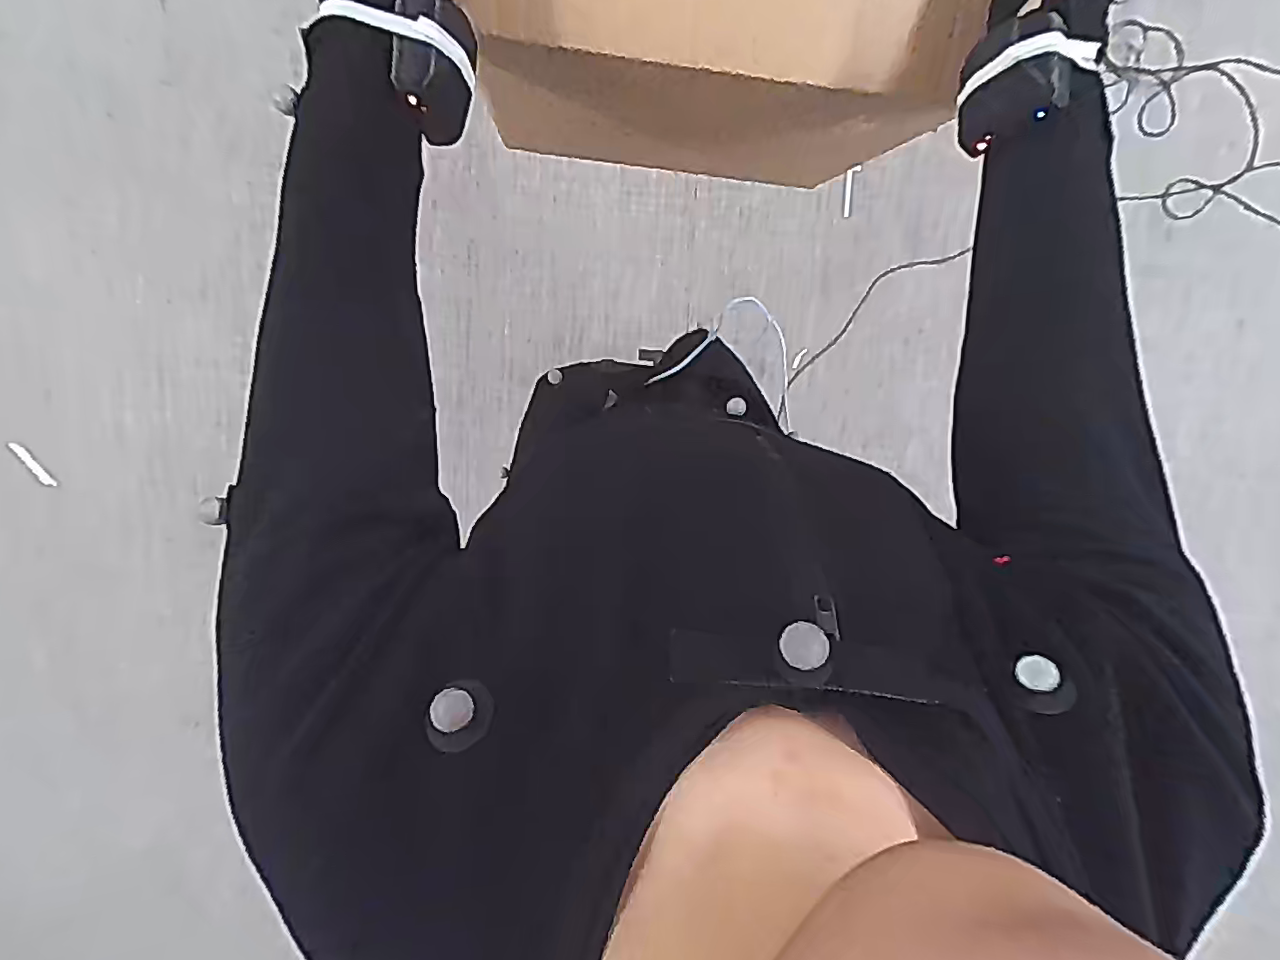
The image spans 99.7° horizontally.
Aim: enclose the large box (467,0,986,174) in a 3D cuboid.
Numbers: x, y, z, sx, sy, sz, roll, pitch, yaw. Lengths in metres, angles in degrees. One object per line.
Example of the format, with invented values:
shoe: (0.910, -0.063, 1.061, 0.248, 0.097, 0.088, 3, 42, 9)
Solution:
large box: (0.062, -0.511, 0.508, 0.408, 0.320, 0.320, 3, 108, -9)
